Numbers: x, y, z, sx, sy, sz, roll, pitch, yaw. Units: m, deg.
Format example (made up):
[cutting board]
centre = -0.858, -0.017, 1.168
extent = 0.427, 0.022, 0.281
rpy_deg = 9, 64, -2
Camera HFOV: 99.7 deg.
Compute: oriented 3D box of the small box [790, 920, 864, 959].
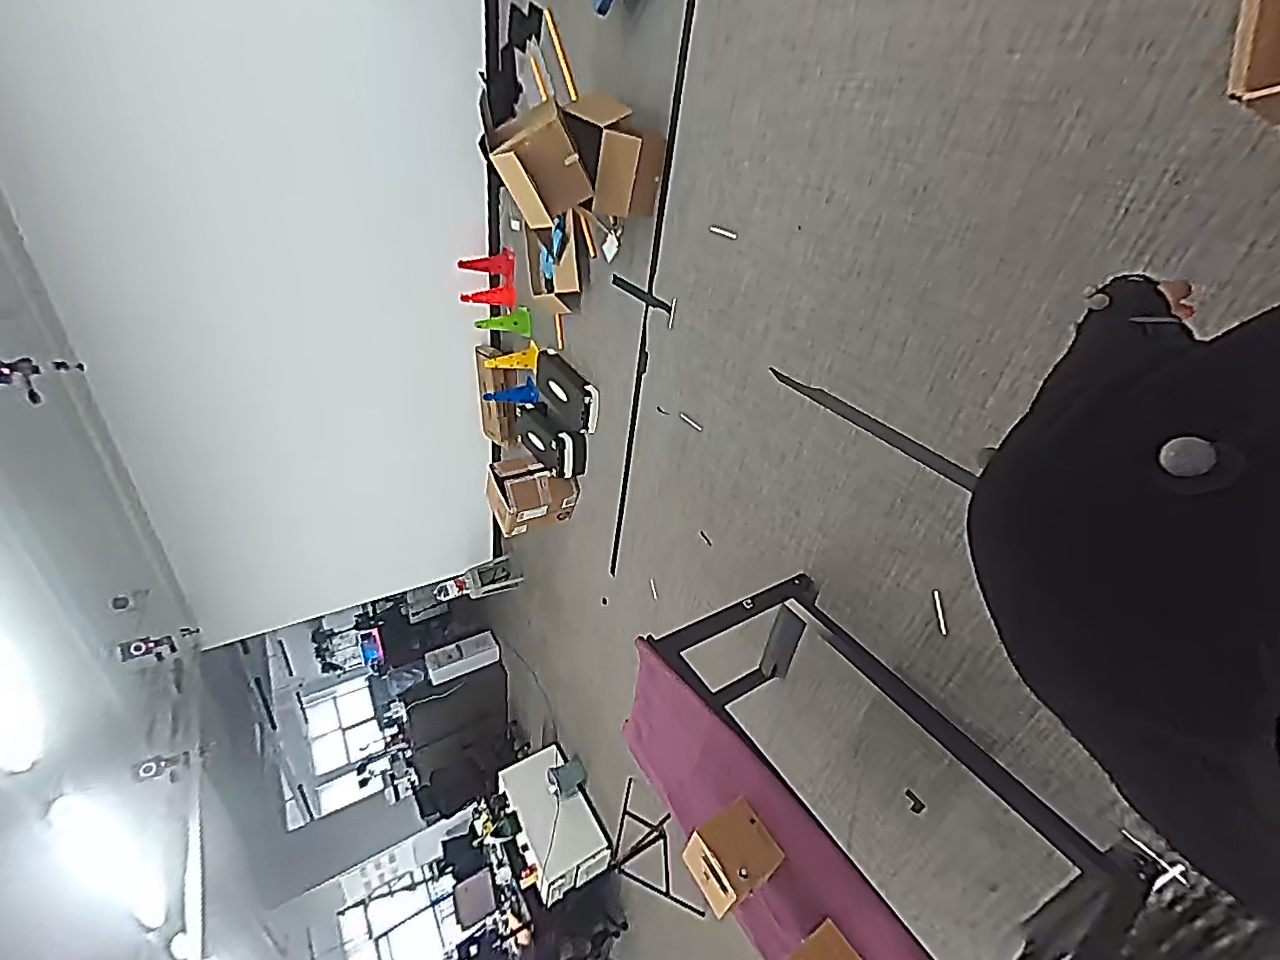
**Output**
[small box]
centre = 0.421, 1.137, 1.193
extent = 0.179, 0.176, 0.168
rpy_deg = 41, 135, 44
